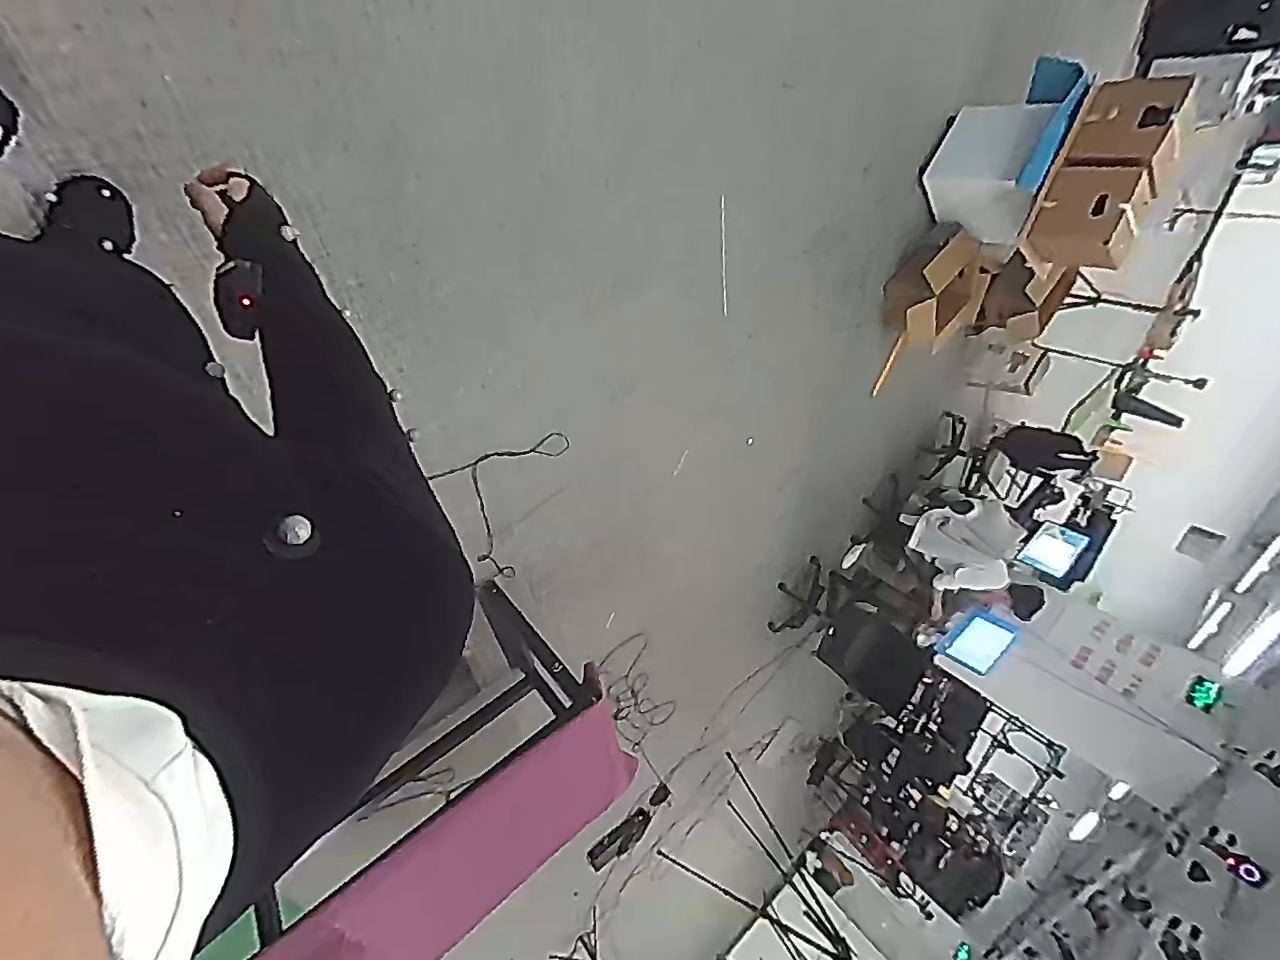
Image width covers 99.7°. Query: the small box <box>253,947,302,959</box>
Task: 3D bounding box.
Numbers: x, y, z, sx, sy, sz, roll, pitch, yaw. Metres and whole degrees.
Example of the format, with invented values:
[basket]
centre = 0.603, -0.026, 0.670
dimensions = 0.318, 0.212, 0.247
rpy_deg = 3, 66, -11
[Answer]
[small box]
centre = -0.869, 1.230, 1.239
dimensions = 0.168, 0.176, 0.179
rpy_deg = -29, 133, -27
